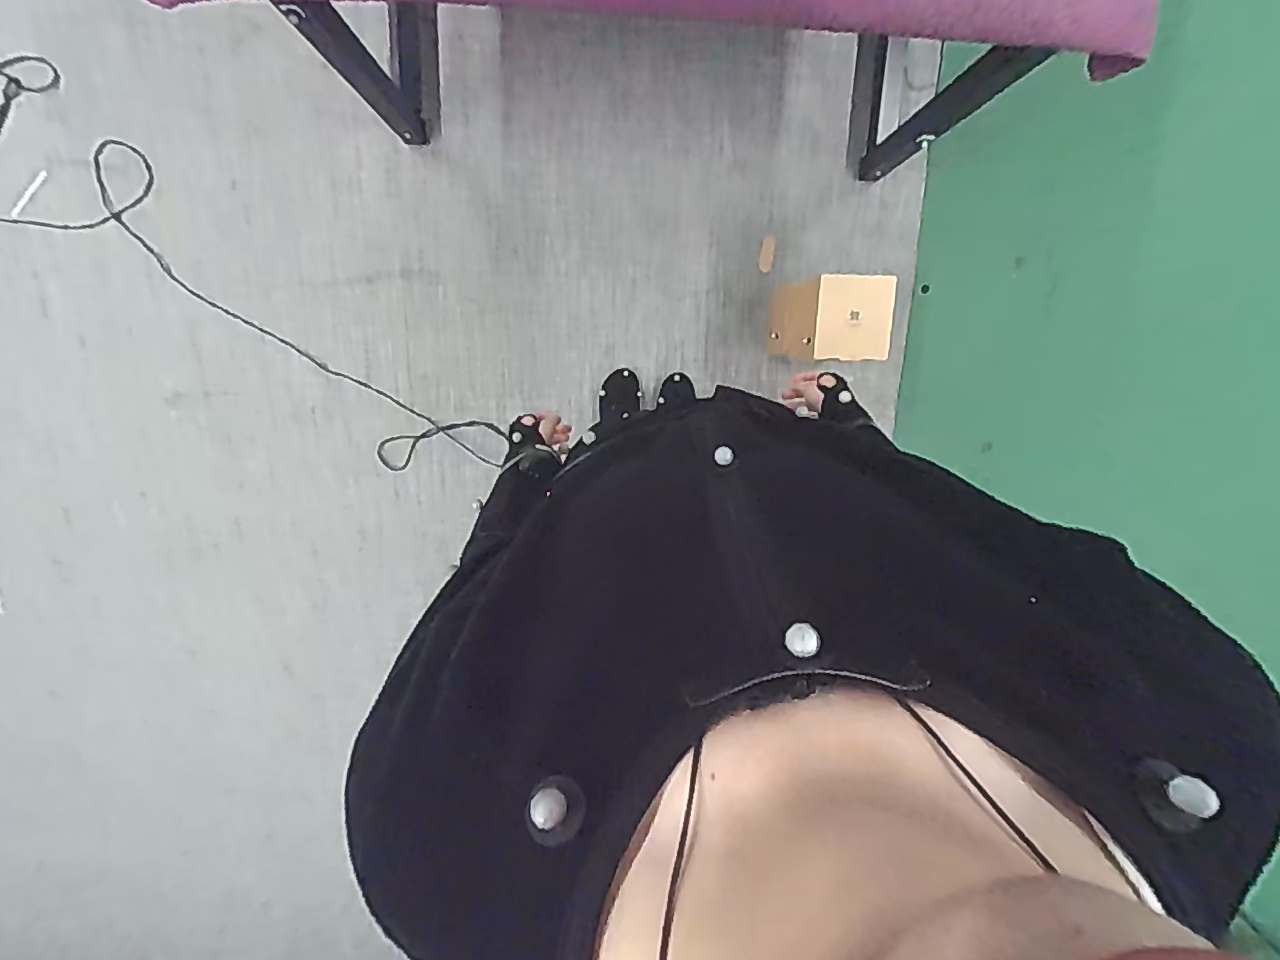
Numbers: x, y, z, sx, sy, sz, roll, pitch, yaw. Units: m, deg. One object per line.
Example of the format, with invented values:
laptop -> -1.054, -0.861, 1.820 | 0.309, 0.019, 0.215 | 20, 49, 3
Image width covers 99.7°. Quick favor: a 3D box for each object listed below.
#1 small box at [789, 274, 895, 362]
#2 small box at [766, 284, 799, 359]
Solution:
small box -> 0.444, -0.357, 1.216 | 0.168, 0.176, 0.179 | 0, 103, -3
small box -> 0.431, -0.393, 1.373 | 0.179, 0.176, 0.168 | 3, 102, -4
